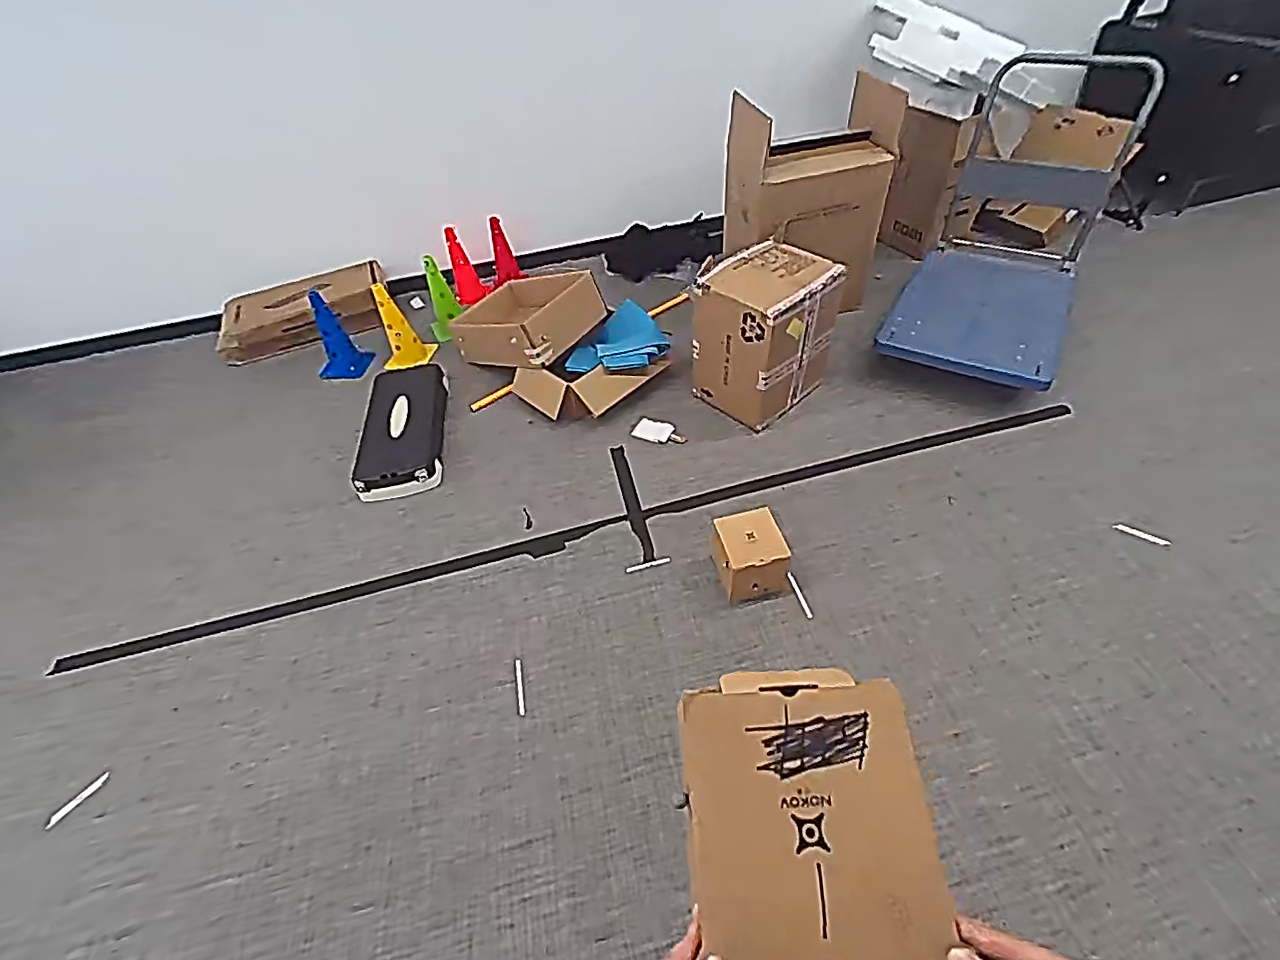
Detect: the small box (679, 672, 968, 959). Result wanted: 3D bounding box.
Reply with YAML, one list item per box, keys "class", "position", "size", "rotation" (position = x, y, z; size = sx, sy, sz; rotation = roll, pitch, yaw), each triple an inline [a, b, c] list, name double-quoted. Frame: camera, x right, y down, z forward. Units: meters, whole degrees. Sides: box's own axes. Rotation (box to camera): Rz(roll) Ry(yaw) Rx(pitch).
- class: "small box"
  position: [0.121, 0.264, 0.443]
  size: [0.168, 0.176, 0.179]
  rotation: [-4, 63, 1]

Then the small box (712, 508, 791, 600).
- class: "small box"
  position: [0.306, 0.210, 1.528]
  size: [0.168, 0.176, 0.179]
  rotation: [-13, 48, -6]
